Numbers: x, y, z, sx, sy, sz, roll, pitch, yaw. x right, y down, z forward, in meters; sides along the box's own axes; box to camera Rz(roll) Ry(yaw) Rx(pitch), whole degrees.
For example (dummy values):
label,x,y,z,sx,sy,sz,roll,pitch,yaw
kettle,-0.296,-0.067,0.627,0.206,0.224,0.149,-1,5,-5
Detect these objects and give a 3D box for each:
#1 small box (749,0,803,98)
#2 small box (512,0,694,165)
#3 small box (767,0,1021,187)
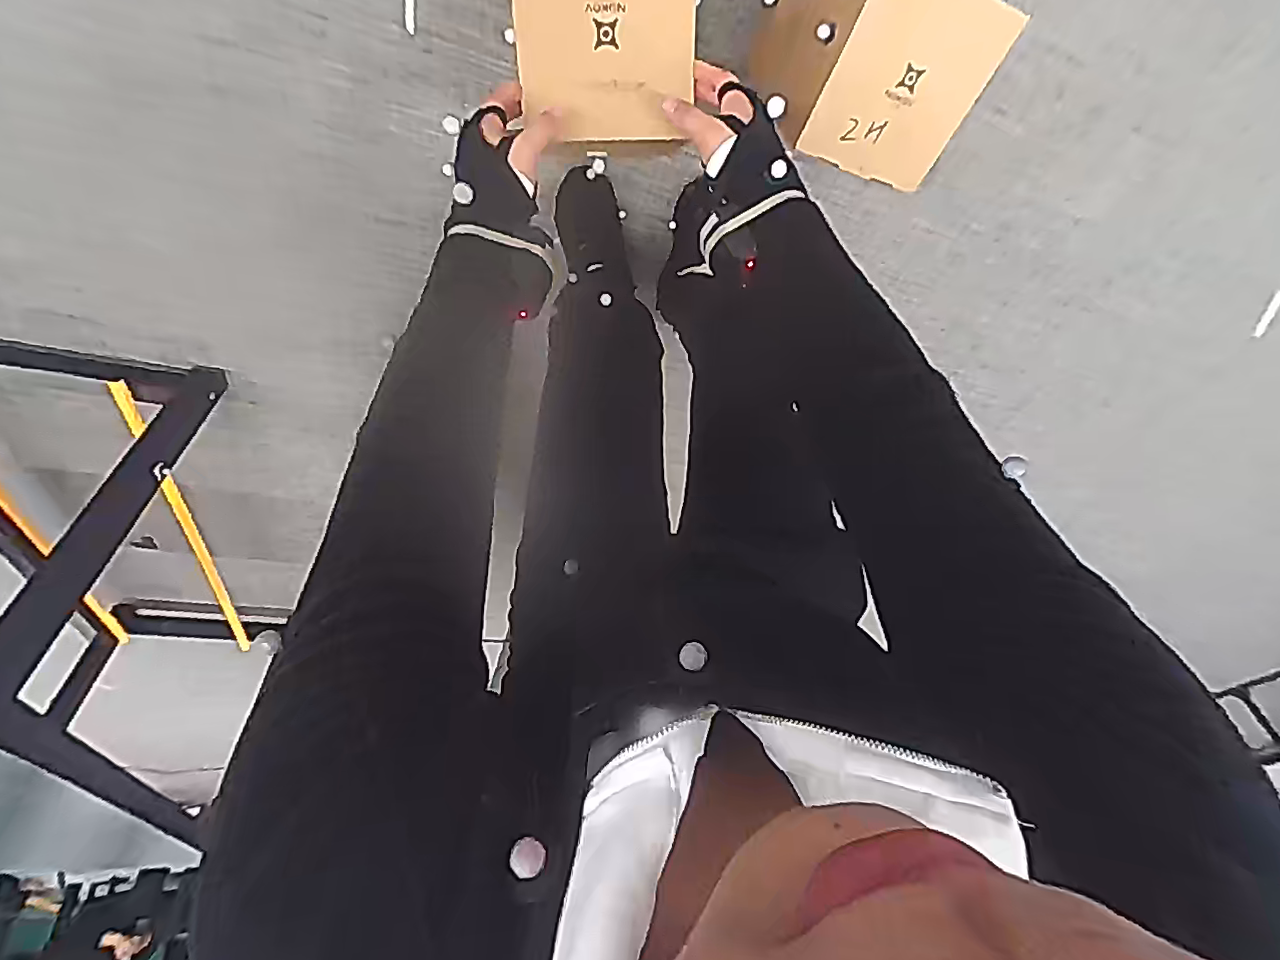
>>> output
label,x,y,z,sx,sy,sz,roll,pitch,yaw
small box,0.258,-0.606,0.716,0.168,0.176,0.179,8,138,-15
small box,-0.038,-0.441,0.561,0.168,0.176,0.179,-3,114,-2
small box,0.263,-0.477,0.612,0.168,0.176,0.179,10,138,-16
